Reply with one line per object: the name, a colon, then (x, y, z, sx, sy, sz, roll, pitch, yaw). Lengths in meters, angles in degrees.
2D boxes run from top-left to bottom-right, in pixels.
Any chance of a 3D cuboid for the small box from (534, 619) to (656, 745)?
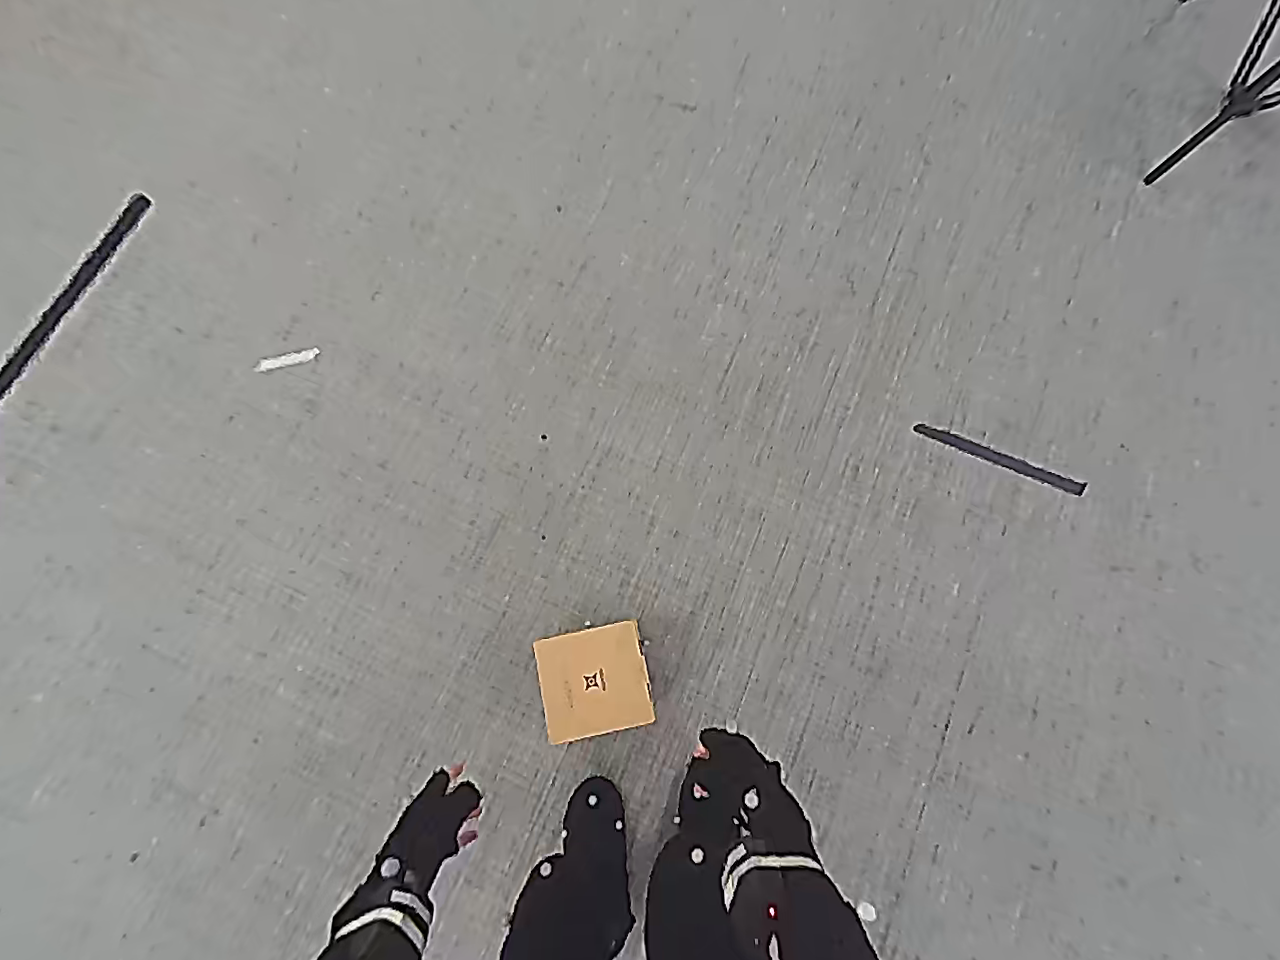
small box: (-0.075, 0.343, 0.950, 0.179, 0.176, 0.168, -12, 76, -2)
